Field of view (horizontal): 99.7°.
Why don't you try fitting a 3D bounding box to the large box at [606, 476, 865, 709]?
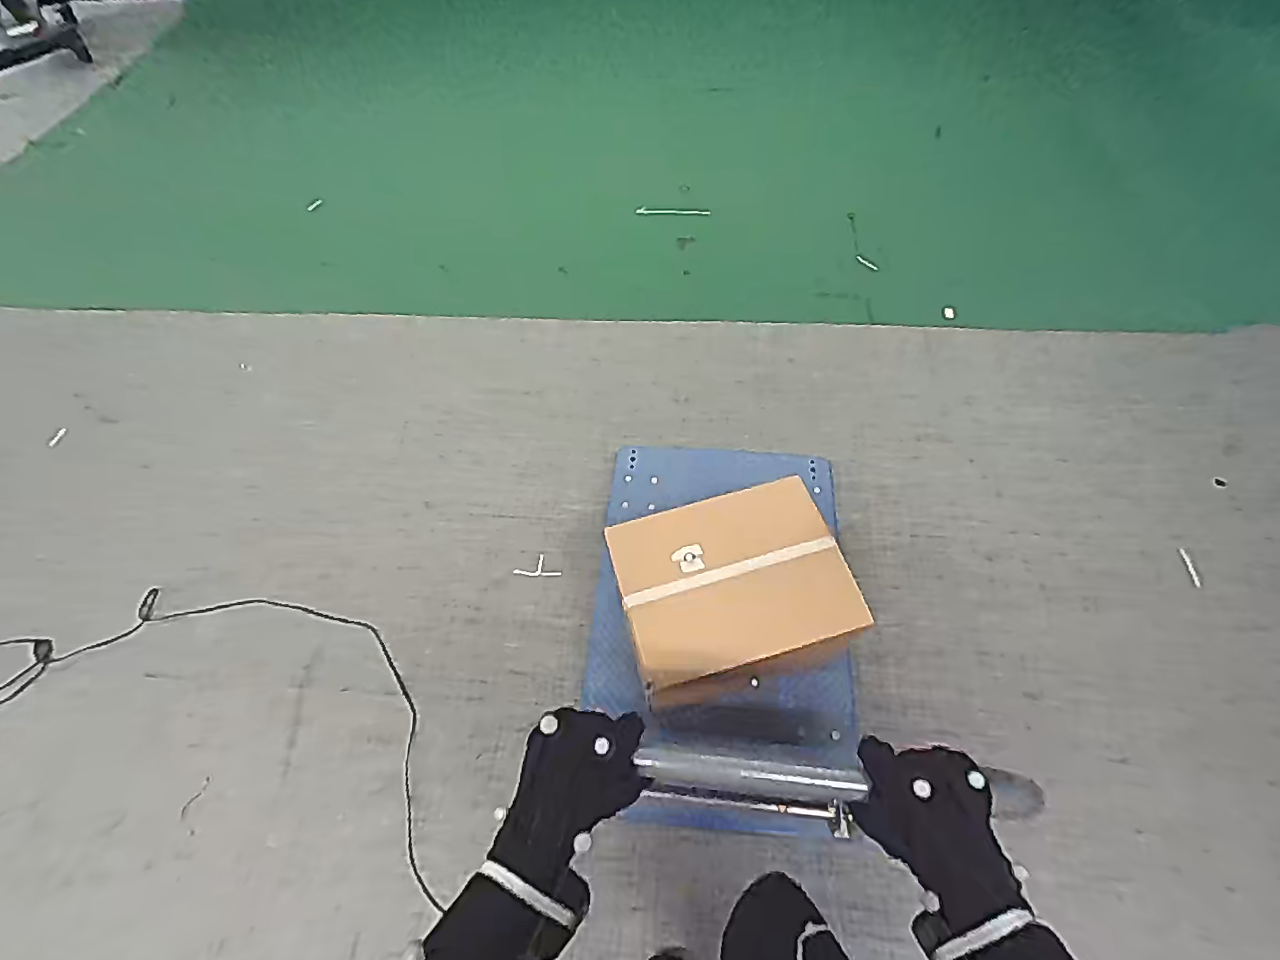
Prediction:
[{"bbox_3d":[0.173,0.242,1.122,0.408,0.320,0.320,-16,60,-5],"label":"large box"}]
